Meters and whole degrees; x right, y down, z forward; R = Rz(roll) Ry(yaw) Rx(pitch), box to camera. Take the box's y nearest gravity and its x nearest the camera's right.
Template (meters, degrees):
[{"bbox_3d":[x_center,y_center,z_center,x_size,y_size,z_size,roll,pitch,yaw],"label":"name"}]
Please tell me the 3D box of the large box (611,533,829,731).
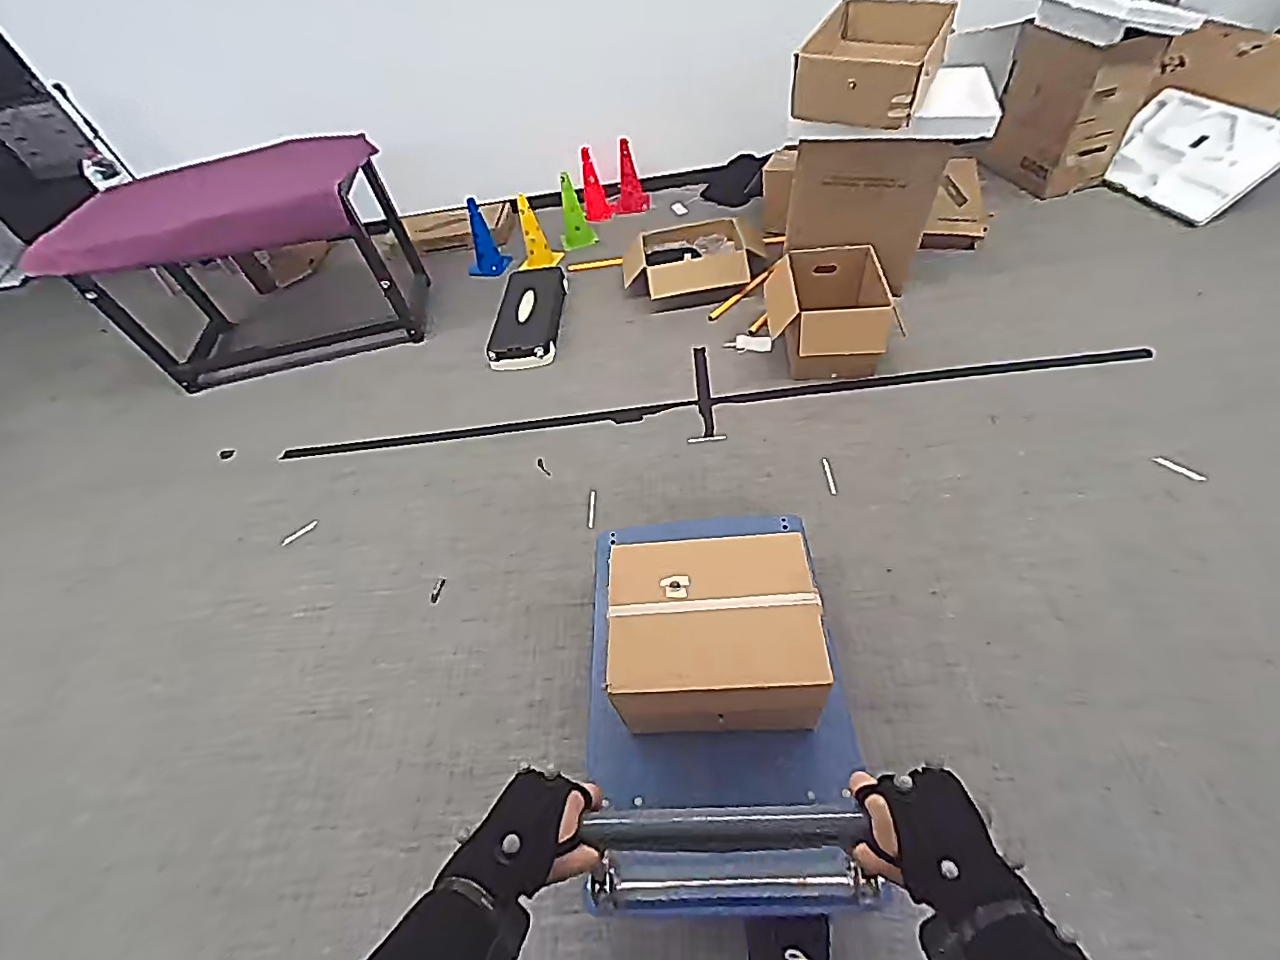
[{"bbox_3d":[0.163,0.346,1.190,0.408,0.320,0.320,-6,51,6],"label":"large box"}]
